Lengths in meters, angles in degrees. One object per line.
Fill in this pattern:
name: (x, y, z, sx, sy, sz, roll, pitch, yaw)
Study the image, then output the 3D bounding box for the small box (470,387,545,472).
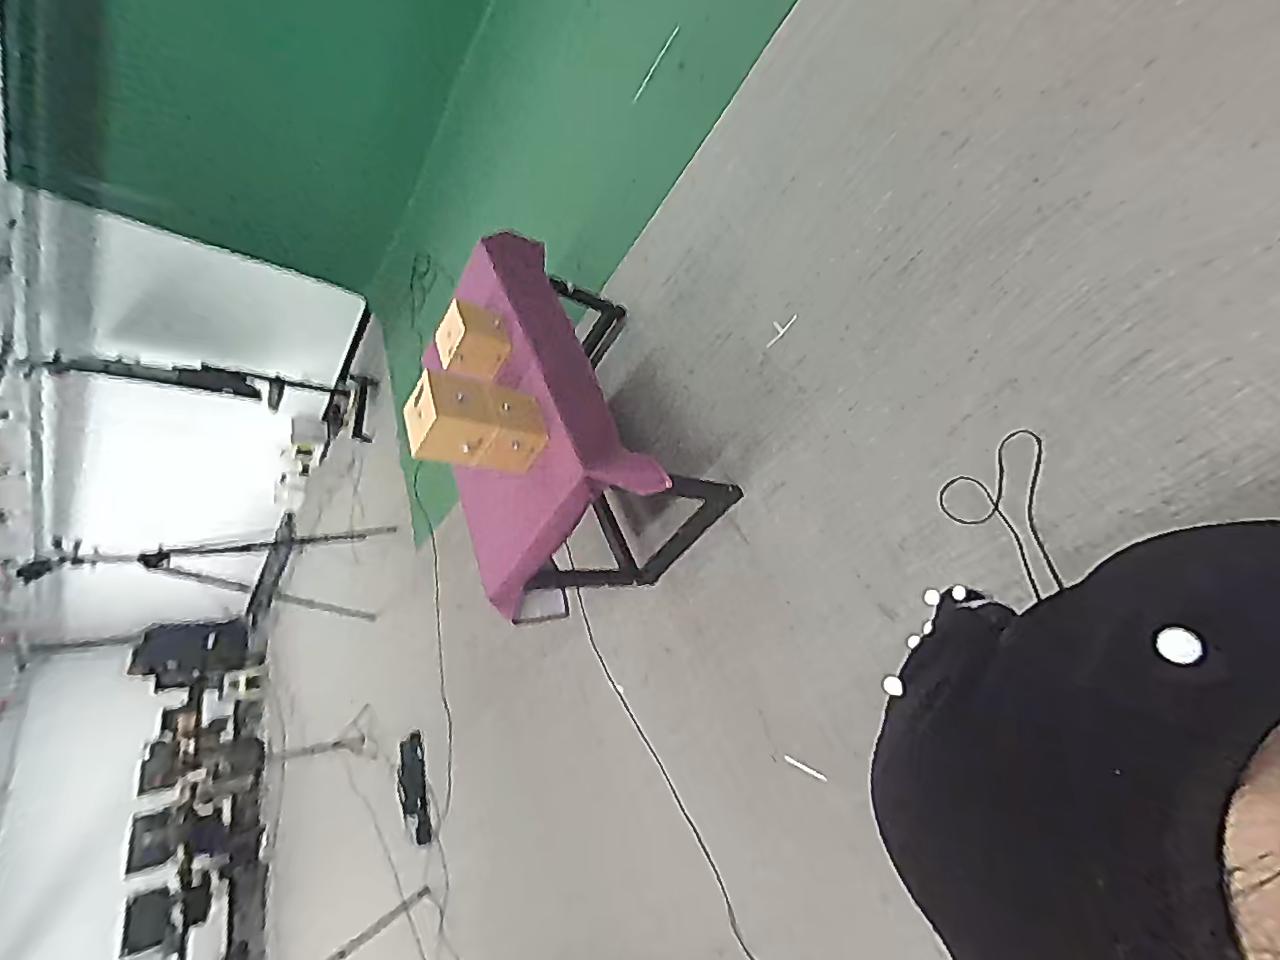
small box: (-0.397, -0.138, 1.567, 0.168, 0.176, 0.179, -46, 53, 32)

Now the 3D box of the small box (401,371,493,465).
small box: (-0.519, -0.159, 1.459, 0.168, 0.176, 0.179, -46, 54, 31)

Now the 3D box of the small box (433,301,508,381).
small box: (-0.561, -0.453, 1.794, 0.168, 0.176, 0.179, -47, 52, 32)
